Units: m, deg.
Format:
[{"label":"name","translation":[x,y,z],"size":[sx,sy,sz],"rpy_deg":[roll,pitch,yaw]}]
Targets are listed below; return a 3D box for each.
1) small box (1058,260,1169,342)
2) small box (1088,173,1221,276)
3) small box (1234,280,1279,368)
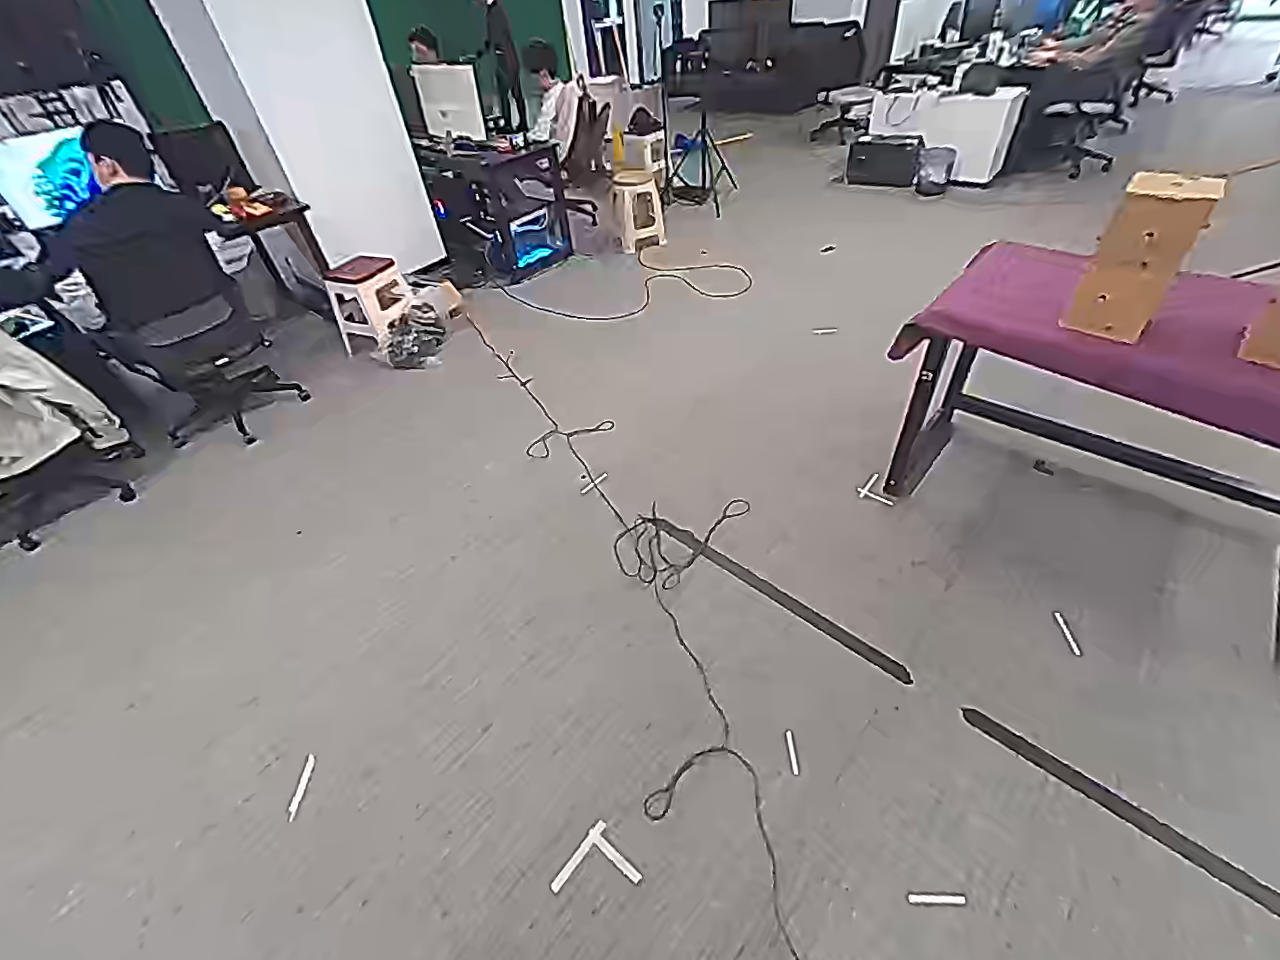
[{"label":"small box","translation":[1.208,-0.474,1.375],"size":[0.168,0.176,0.179],"rpy_deg":[30,53,32]},{"label":"small box","translation":[1.198,-0.598,1.268],"size":[0.168,0.176,0.179],"rpy_deg":[28,53,31]},{"label":"small box","translation":[1.500,-0.355,1.211],"size":[0.179,0.176,0.168],"rpy_deg":[-37,51,-28]}]
